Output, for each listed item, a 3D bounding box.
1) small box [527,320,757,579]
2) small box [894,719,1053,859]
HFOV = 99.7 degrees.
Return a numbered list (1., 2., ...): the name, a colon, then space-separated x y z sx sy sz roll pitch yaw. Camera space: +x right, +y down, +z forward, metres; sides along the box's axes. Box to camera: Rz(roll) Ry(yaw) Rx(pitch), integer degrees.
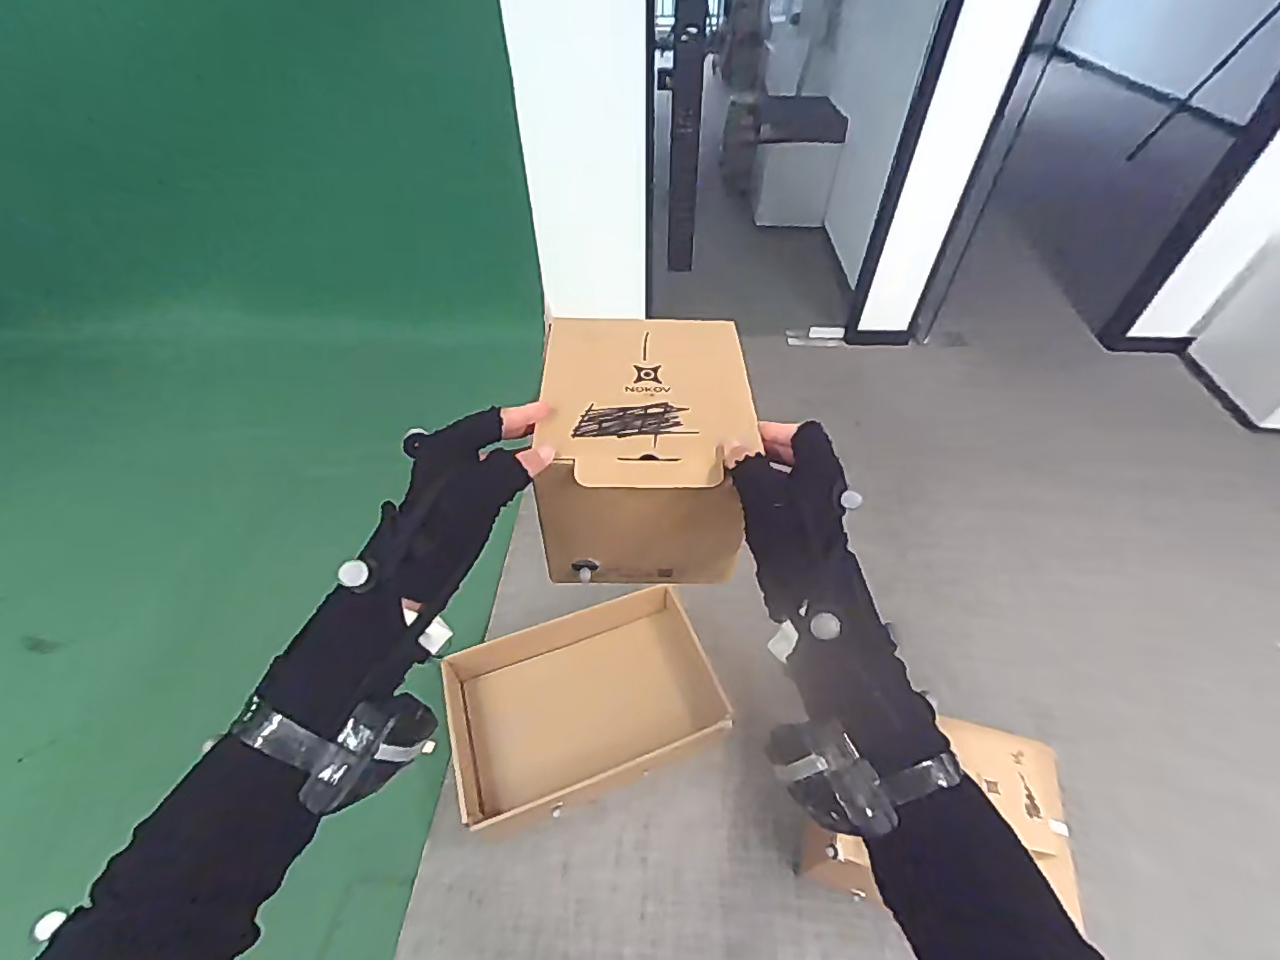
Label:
1. small box: 0.000 -0.024 0.490 0.168 0.176 0.179 1 49 -2
2. small box: 0.562 0.543 0.946 0.179 0.176 0.168 7 49 8
